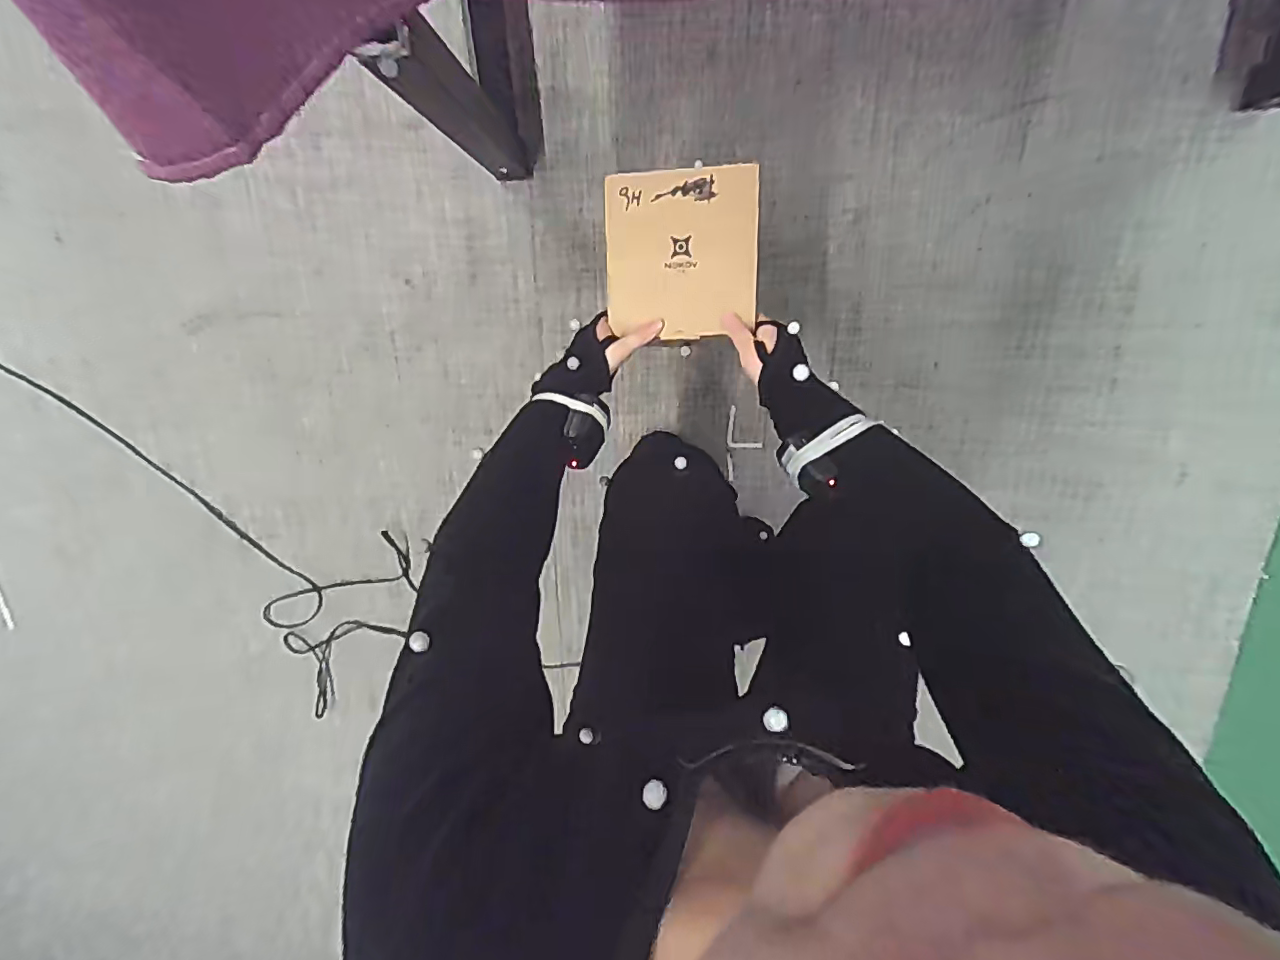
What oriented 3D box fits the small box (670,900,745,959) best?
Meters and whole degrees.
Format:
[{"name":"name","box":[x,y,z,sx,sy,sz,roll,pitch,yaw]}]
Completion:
[{"name":"small box","box":[0.154,1.126,1.263,0.168,0.176,0.179,-1,108,4]}]
